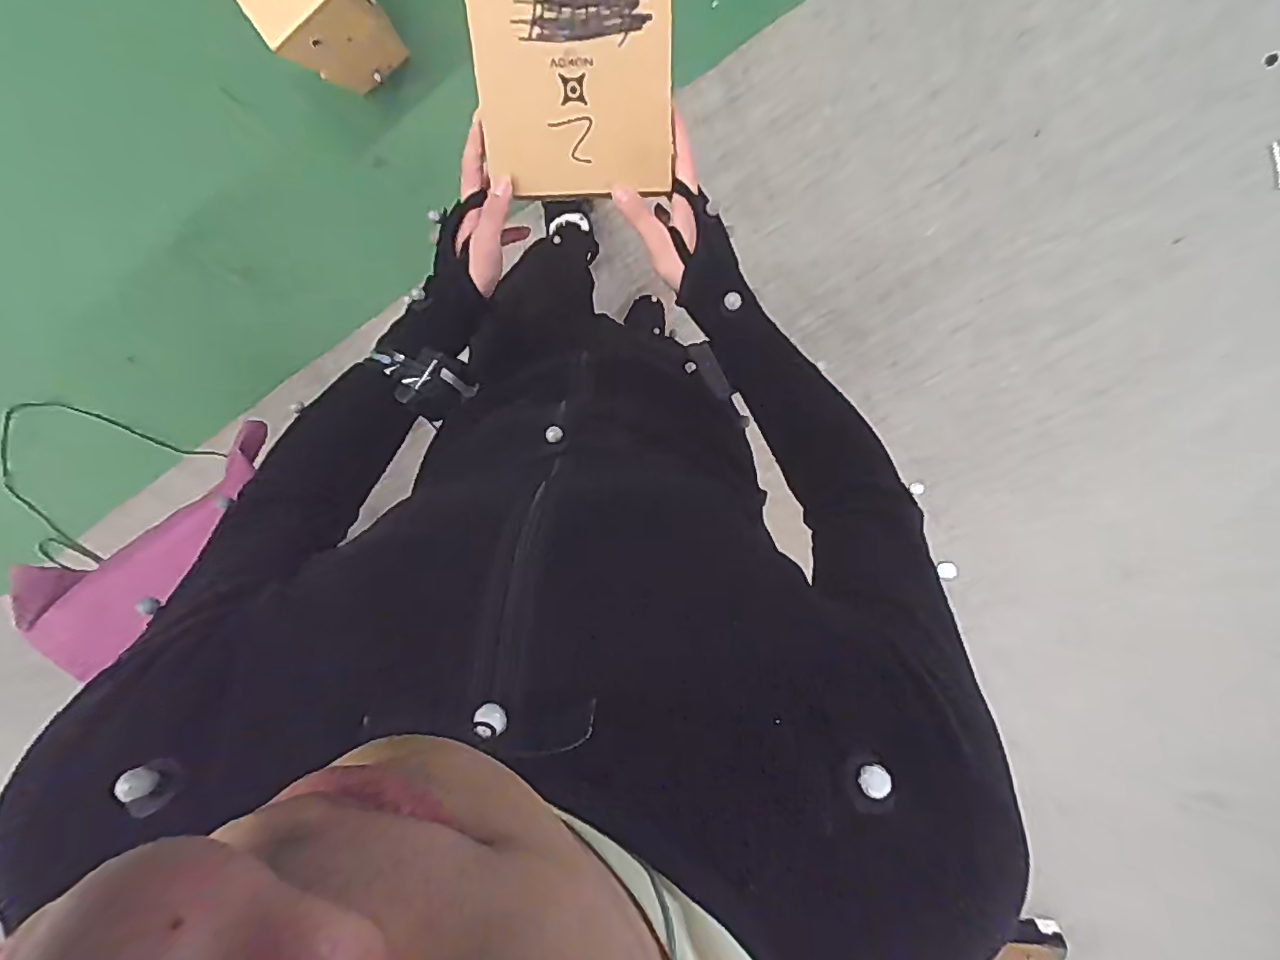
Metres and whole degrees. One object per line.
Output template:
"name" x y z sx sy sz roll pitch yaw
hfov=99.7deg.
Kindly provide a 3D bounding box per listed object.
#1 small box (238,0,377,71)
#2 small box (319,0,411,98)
"small box" -0.660 -0.942 1.054 0.168 0.176 0.179 -29 107 15
"small box" -0.654 -1.003 1.204 0.168 0.176 0.179 -29 109 14
